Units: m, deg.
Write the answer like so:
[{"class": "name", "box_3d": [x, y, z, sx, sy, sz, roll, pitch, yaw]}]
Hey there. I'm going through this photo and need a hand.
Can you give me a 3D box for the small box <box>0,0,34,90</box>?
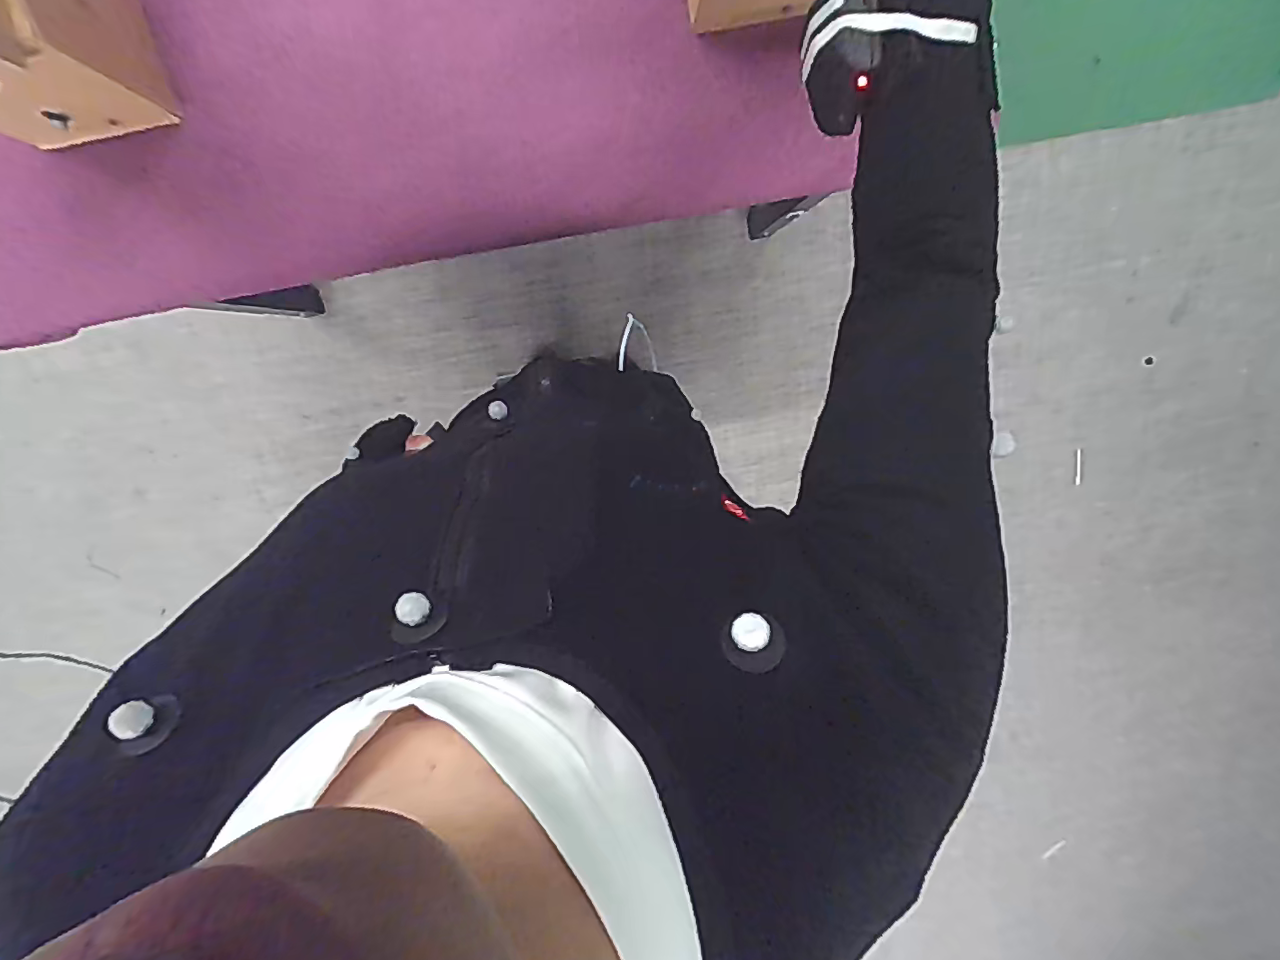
[{"class": "small box", "box_3d": [-0.601, -0.392, 0.371, 0.168, 0.176, 0.179, -8, 104, -2]}]
